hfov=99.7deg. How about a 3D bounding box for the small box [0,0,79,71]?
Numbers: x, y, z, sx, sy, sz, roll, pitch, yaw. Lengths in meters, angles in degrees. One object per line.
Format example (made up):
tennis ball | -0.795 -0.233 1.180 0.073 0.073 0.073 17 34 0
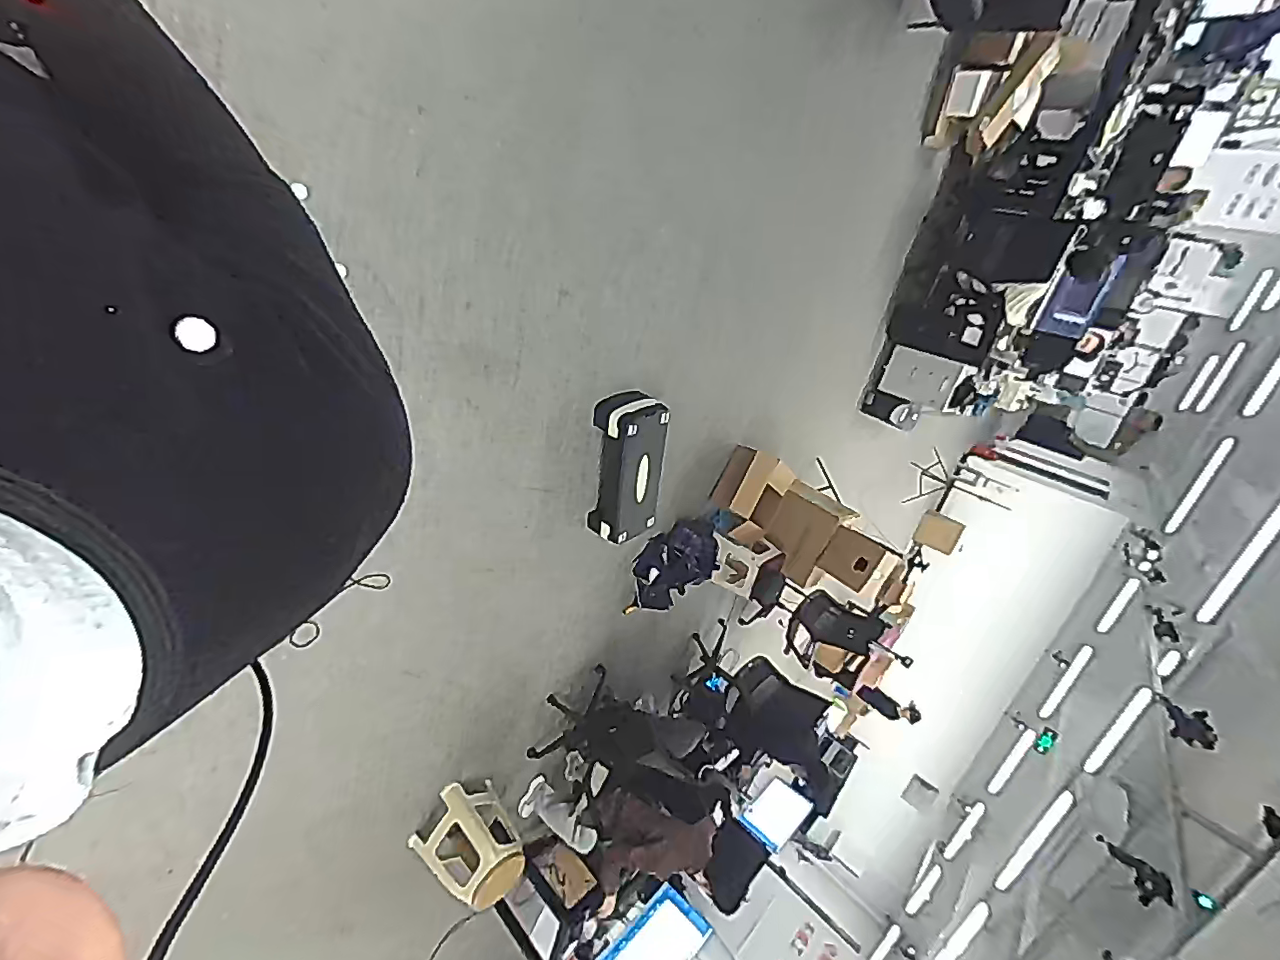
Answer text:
small box | -0.892 -0.702 0.735 0.168 0.176 0.179 8 108 -53

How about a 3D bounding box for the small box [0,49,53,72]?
small box | -1.012 -0.769 0.827 0.168 0.176 0.179 6 110 -53
